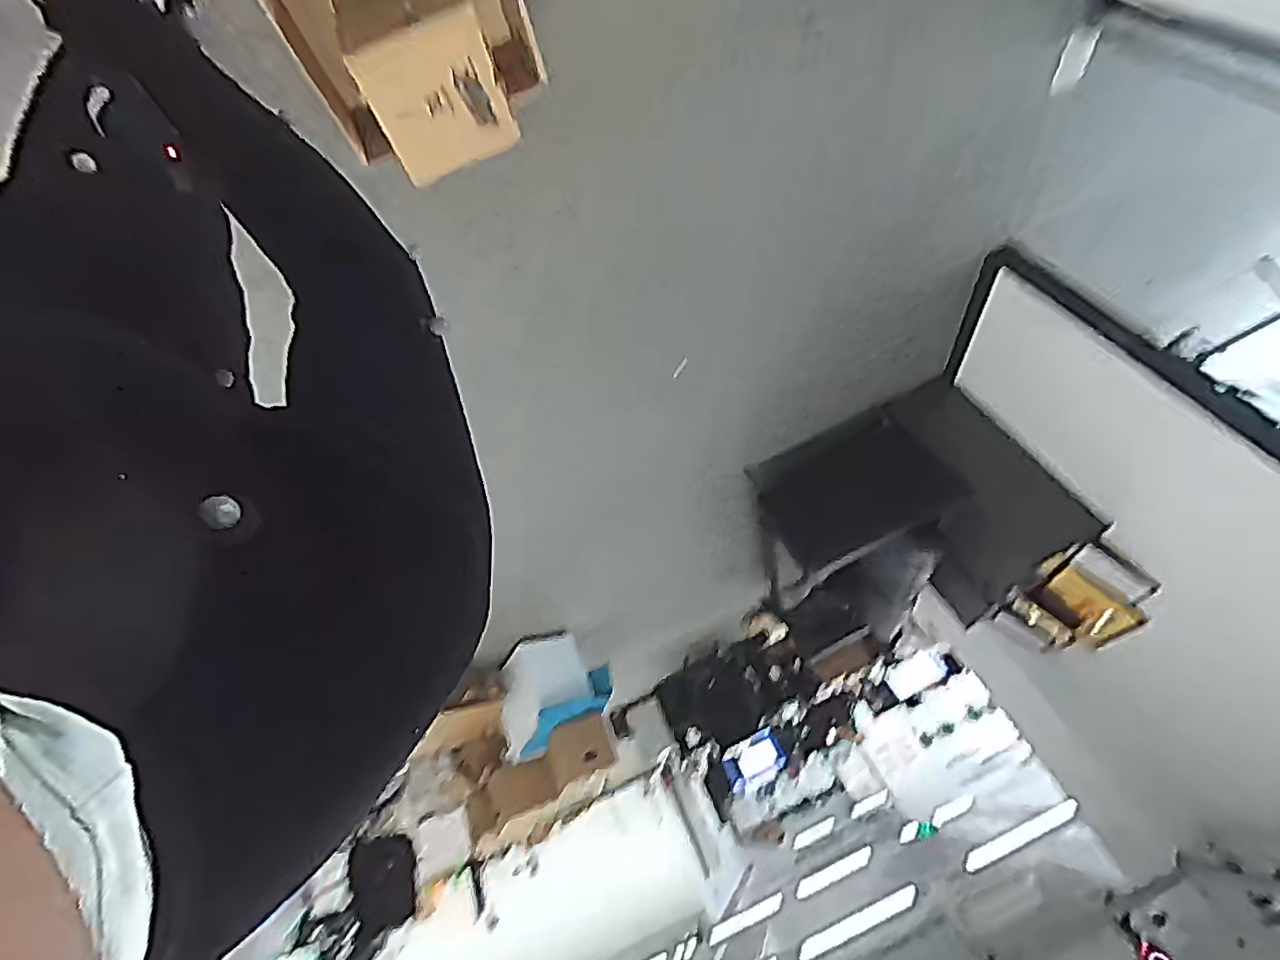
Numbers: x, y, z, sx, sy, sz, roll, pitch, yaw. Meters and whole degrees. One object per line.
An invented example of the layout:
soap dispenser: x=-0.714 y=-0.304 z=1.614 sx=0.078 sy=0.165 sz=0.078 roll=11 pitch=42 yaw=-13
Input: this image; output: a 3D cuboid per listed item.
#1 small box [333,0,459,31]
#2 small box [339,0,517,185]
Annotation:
small box: x=-0.368 y=-0.699 z=0.879 sx=0.179 sy=0.176 sz=0.168 roll=-25 pitch=146 yaw=-4
small box: x=-0.308 y=-0.577 z=0.789 sx=0.179 sy=0.176 sz=0.168 roll=-26 pitch=146 yaw=-3
